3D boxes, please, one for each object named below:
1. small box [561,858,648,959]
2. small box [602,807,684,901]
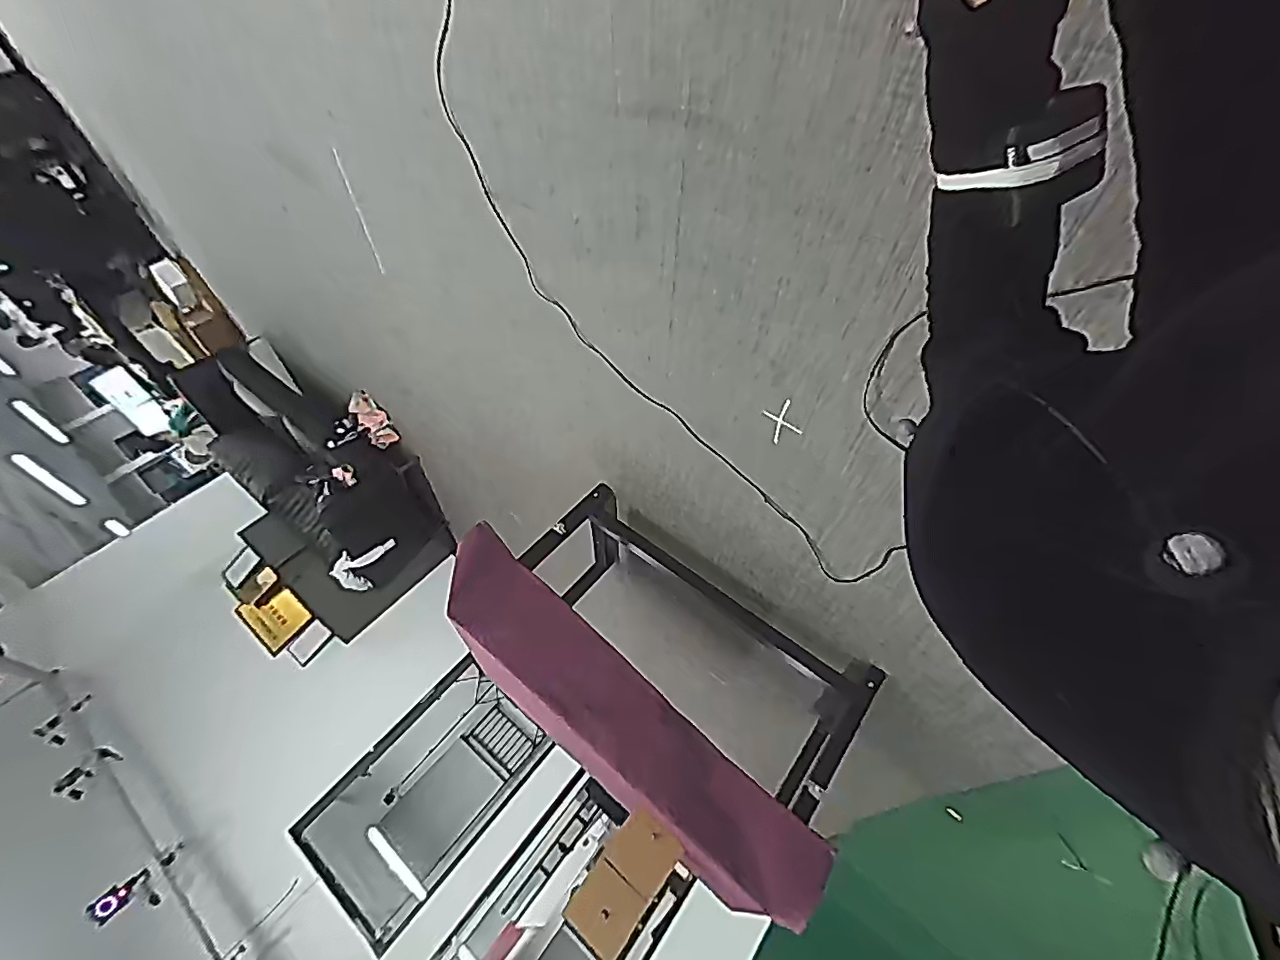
[{"bbox_3d":[-0.097,1.201,1.523,0.179,0.176,0.168,31,148,24],"label":"small box"},{"bbox_3d":[0.008,1.102,1.602,0.179,0.176,0.168,32,148,24],"label":"small box"}]
